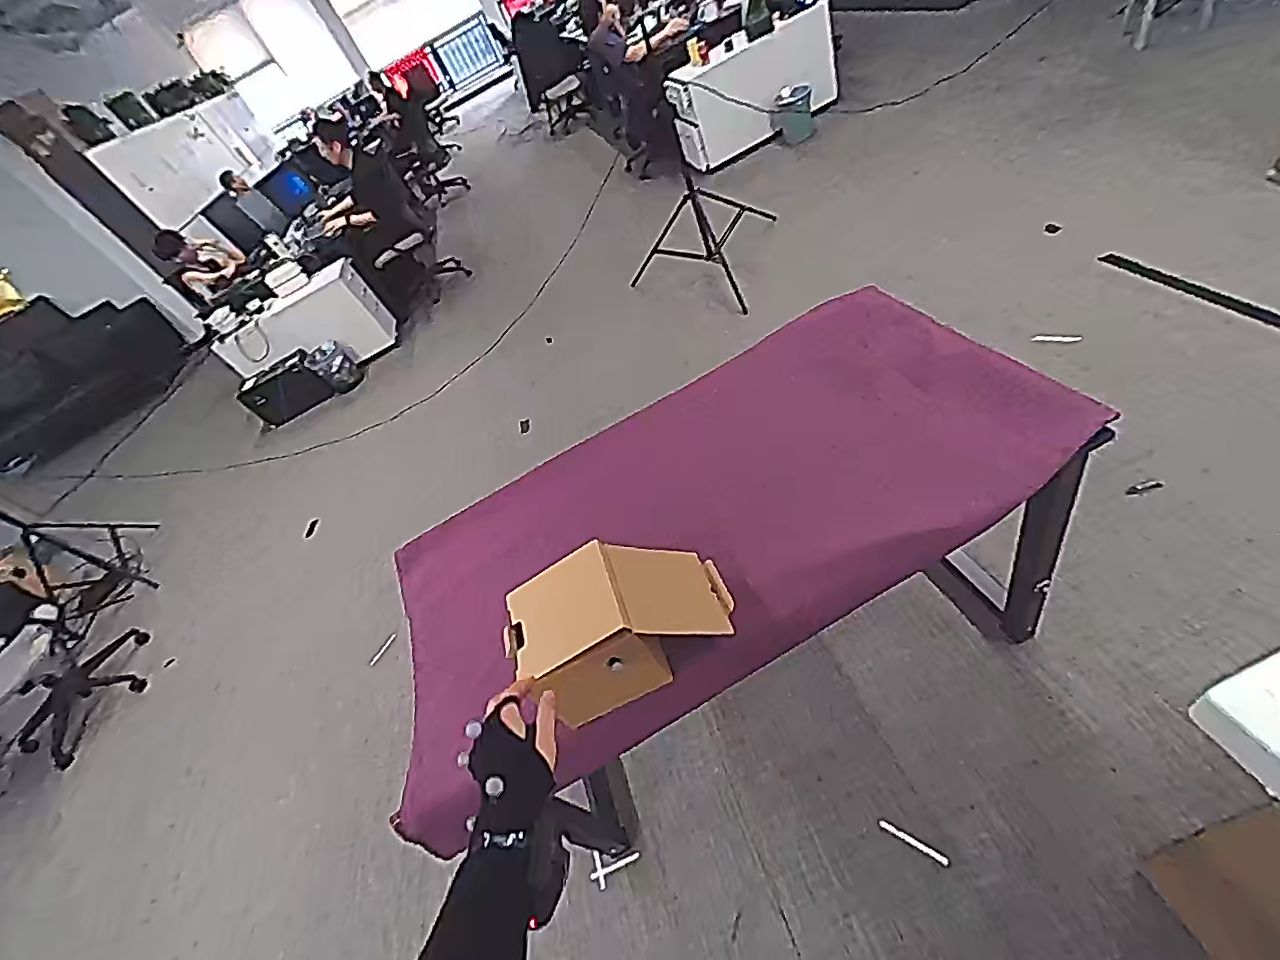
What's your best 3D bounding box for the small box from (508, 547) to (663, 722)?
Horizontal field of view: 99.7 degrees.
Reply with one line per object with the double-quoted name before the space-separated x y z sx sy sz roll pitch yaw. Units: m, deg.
"small box" -0.078 0.240 0.834 0.179 0.176 0.168 -27 43 4
